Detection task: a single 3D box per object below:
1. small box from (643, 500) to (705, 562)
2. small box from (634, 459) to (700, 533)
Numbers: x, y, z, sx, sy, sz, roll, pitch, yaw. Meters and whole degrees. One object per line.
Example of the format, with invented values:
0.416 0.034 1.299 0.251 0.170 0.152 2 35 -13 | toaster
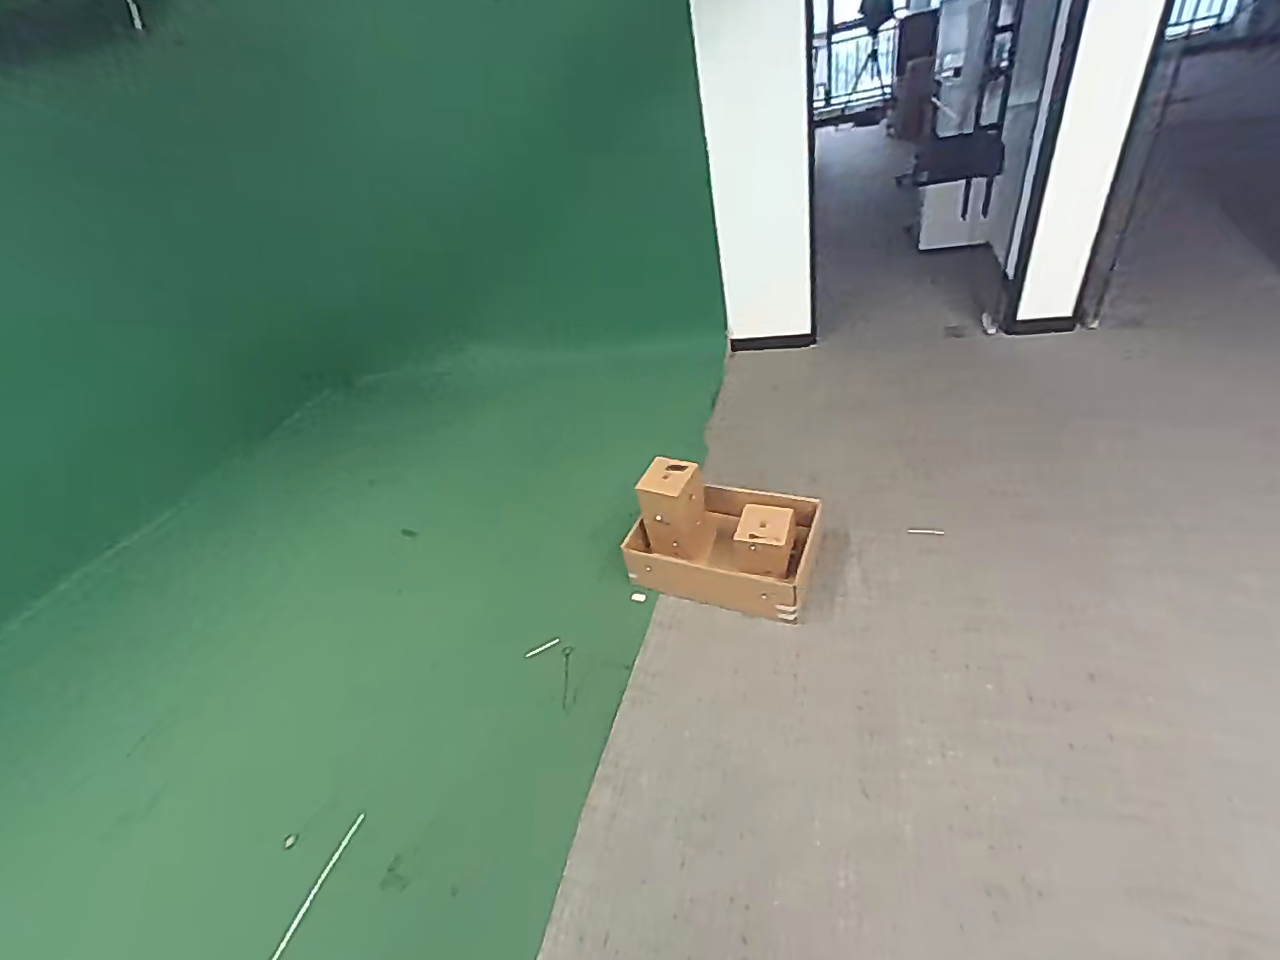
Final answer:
0.132 0.176 1.999 0.168 0.176 0.179 11 45 27 | small box
0.101 0.054 1.893 0.168 0.176 0.179 11 47 28 | small box
